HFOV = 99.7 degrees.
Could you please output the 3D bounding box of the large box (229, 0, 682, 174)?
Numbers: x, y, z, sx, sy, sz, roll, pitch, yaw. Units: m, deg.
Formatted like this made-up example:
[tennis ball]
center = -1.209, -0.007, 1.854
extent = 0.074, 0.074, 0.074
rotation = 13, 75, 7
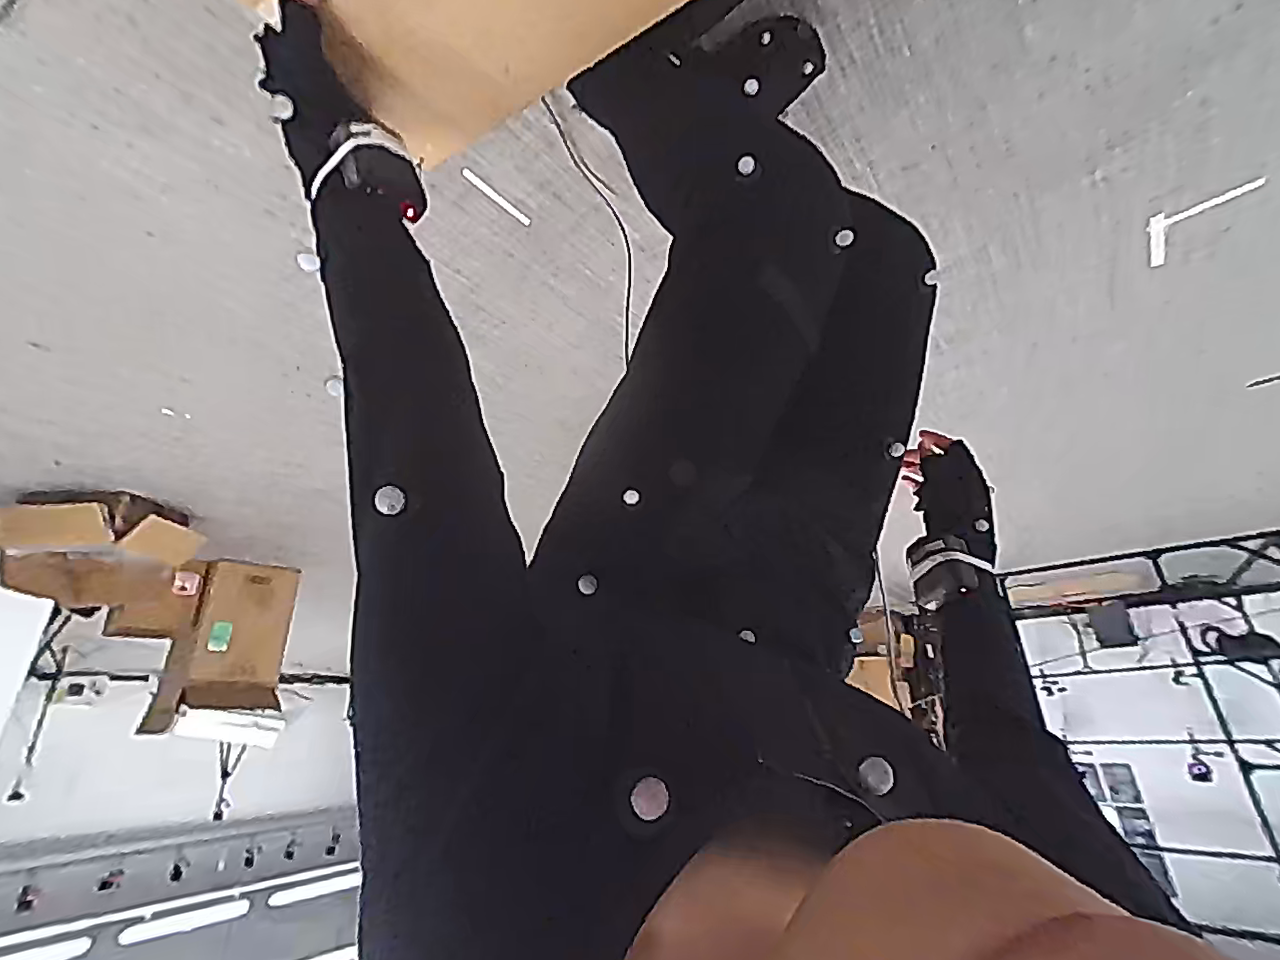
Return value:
[large box]
center = -0.140, -0.550, 0.417
extent = 0.408, 0.320, 0.320
rotation = -14, 155, 26
